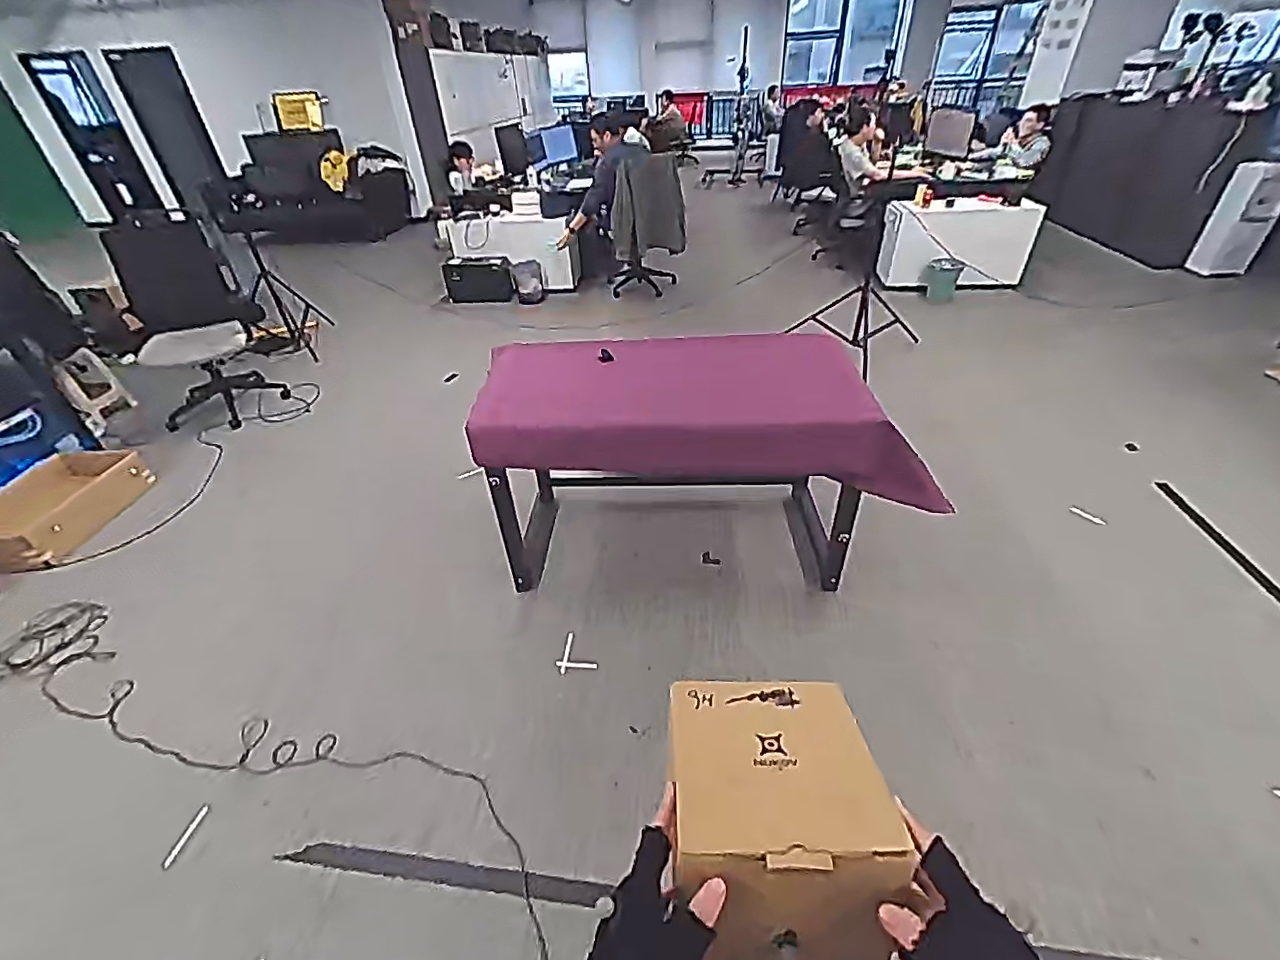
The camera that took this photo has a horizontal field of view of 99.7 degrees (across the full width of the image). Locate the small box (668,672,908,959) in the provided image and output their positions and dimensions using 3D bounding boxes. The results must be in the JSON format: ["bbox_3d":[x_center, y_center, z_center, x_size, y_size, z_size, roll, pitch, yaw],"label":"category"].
[{"bbox_3d":[0.109,0.296,0.480,0.168,0.176,0.179,0,21,1],"label":"small box"}]
